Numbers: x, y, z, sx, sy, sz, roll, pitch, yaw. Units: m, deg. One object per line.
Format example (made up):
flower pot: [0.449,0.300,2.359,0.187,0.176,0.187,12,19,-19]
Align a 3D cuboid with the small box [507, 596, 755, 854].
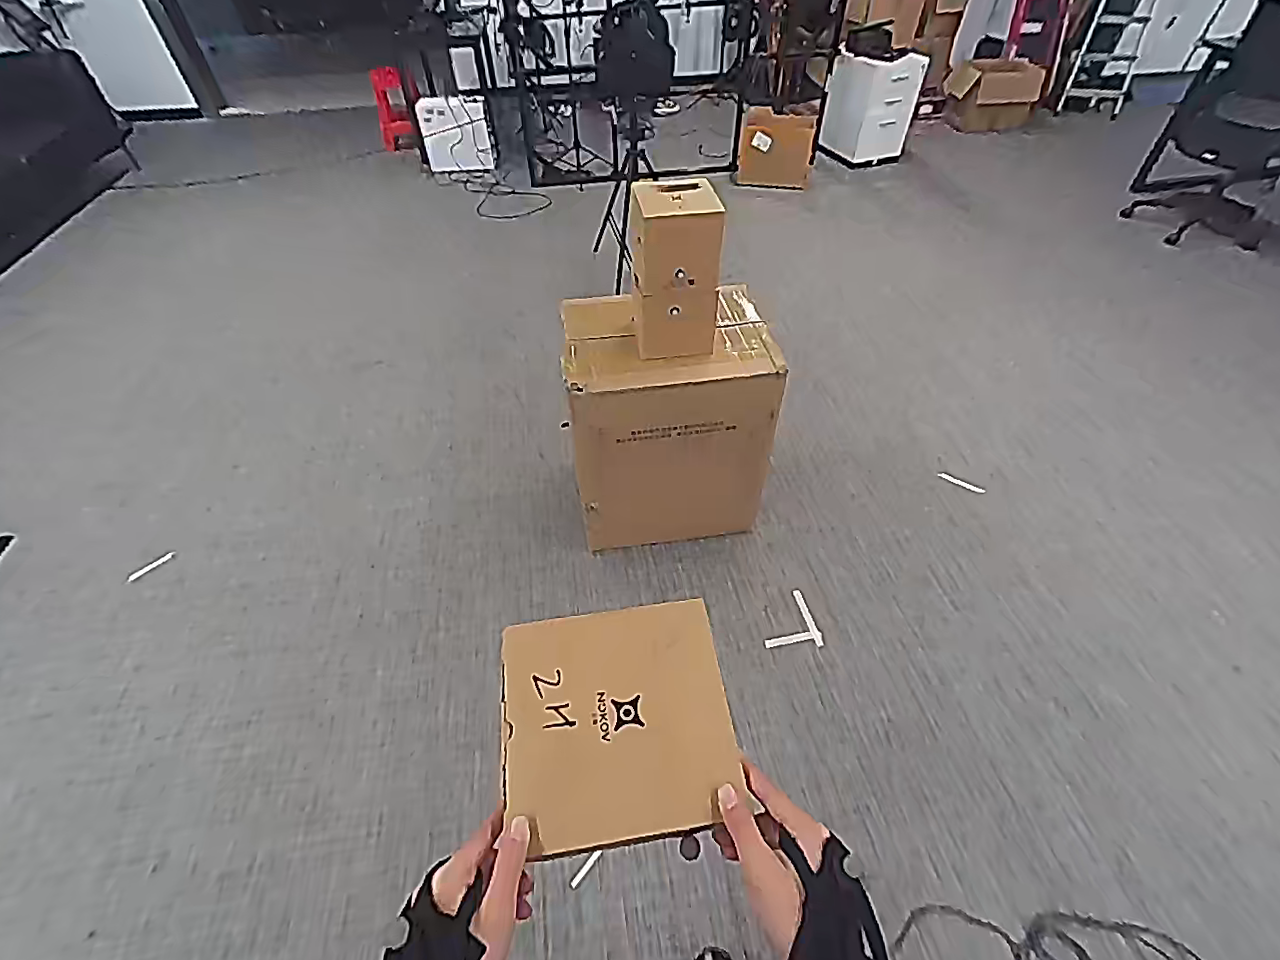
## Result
small box: [-0.016,0.221,0.482,0.179,0.176,0.168,-7,55,-5]

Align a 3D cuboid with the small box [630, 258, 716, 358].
small box: [0.074,-0.405,1.287,0.179,0.176,0.168,-7,48,-5]
